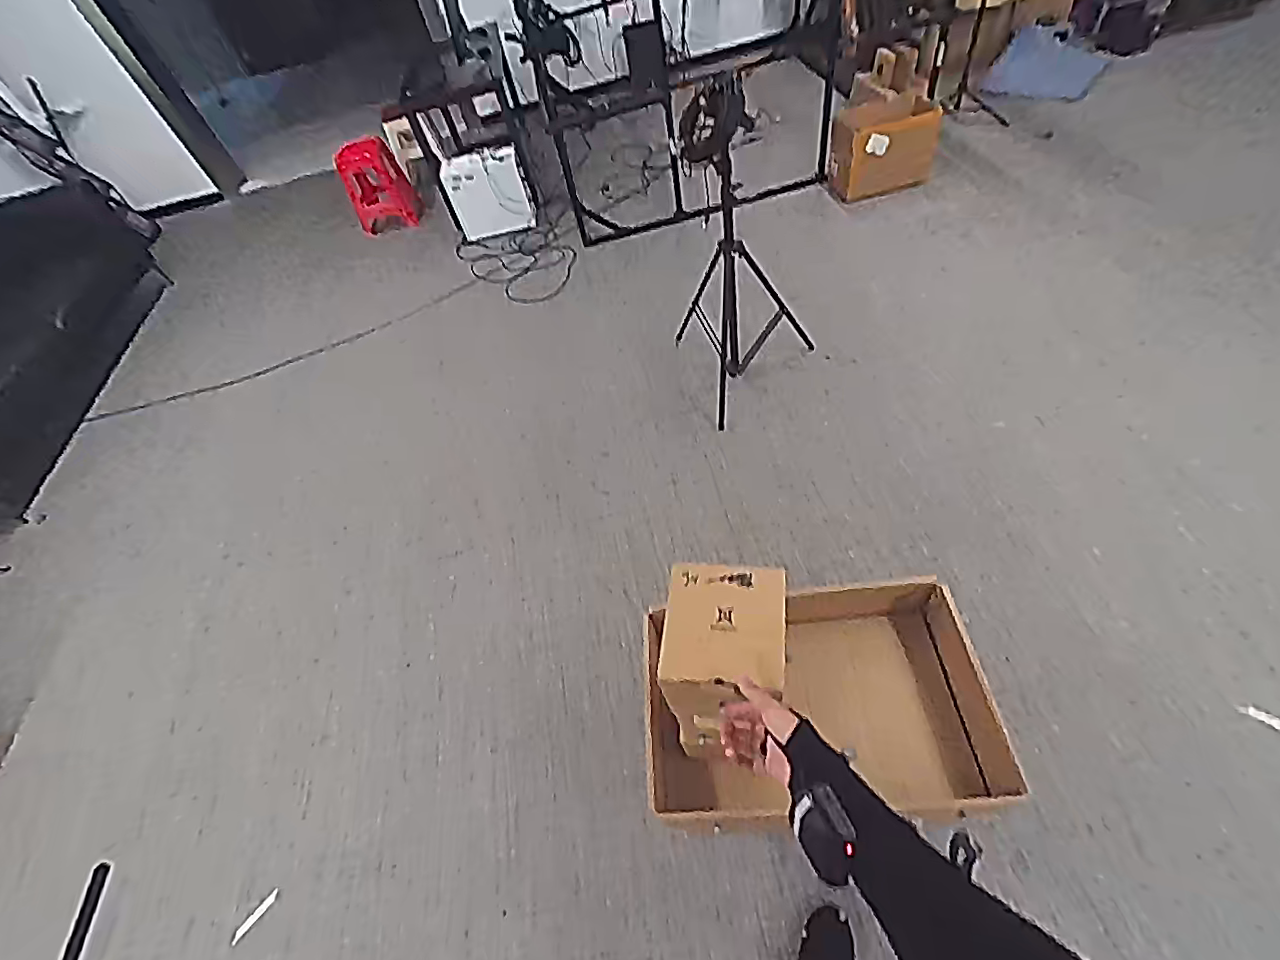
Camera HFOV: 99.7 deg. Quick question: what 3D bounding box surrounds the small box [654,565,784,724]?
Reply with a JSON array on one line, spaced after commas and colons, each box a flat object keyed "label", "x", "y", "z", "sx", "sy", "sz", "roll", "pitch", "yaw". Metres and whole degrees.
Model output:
[{"label": "small box", "x": 0.126, "y": 0.247, "z": 0.803, "sx": 0.168, "sy": 0.176, "sz": 0.179, "roll": 2, "pitch": 53, "yaw": 14}]

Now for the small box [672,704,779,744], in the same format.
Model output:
[{"label": "small box", "x": 0.153, "y": 0.343, "z": 0.934, "sx": 0.168, "sy": 0.176, "sz": 0.179, "roll": -1, "pitch": 52, "yaw": 12}]
